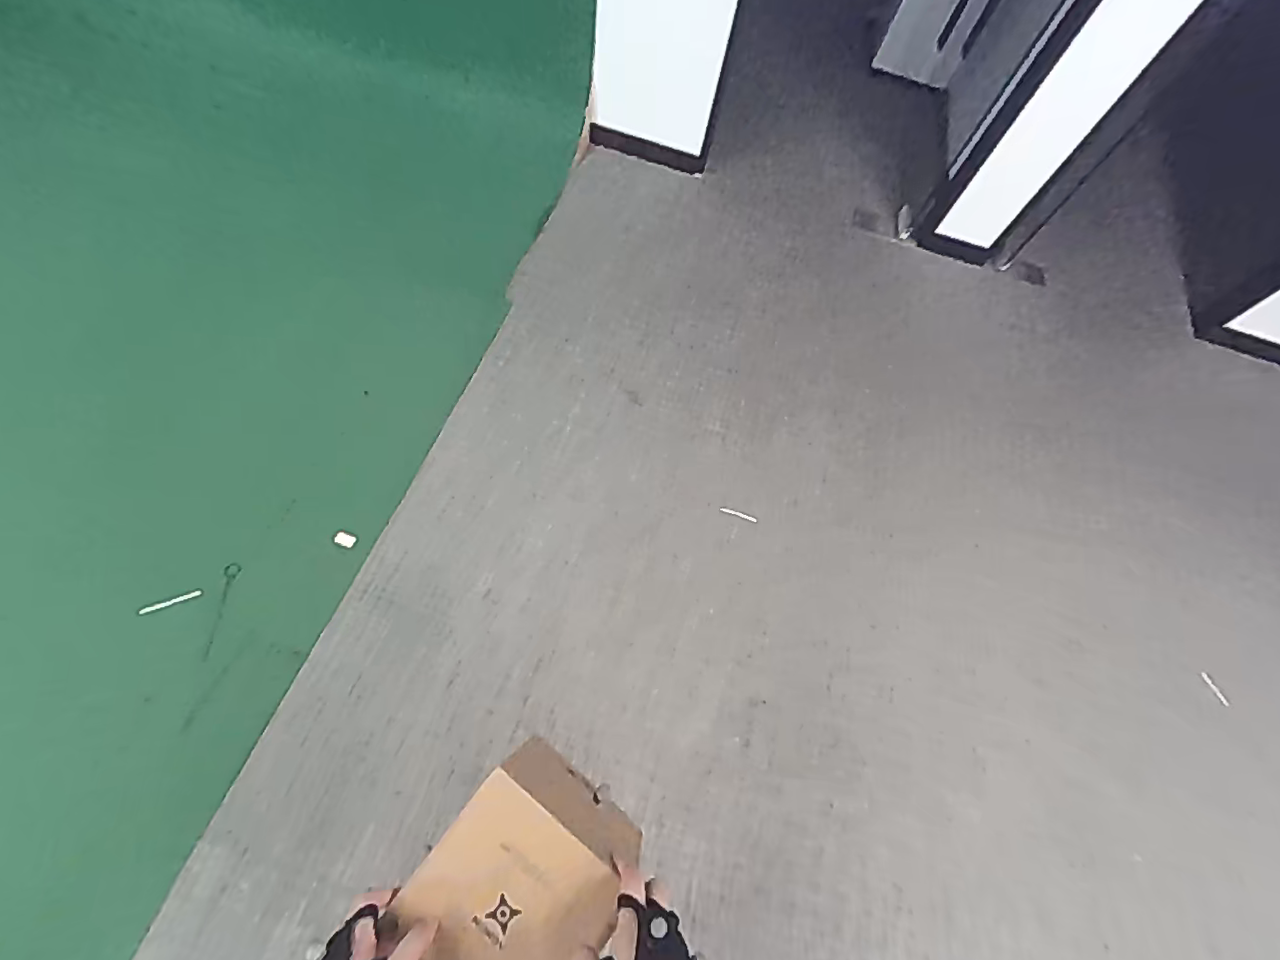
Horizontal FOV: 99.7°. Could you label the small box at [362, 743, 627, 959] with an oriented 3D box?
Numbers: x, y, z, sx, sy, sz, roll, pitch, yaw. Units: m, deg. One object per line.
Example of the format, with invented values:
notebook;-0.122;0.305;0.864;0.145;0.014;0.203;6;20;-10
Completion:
small box;-0.125;0.402;0.545;0.168;0.176;0.179;38;78;11
